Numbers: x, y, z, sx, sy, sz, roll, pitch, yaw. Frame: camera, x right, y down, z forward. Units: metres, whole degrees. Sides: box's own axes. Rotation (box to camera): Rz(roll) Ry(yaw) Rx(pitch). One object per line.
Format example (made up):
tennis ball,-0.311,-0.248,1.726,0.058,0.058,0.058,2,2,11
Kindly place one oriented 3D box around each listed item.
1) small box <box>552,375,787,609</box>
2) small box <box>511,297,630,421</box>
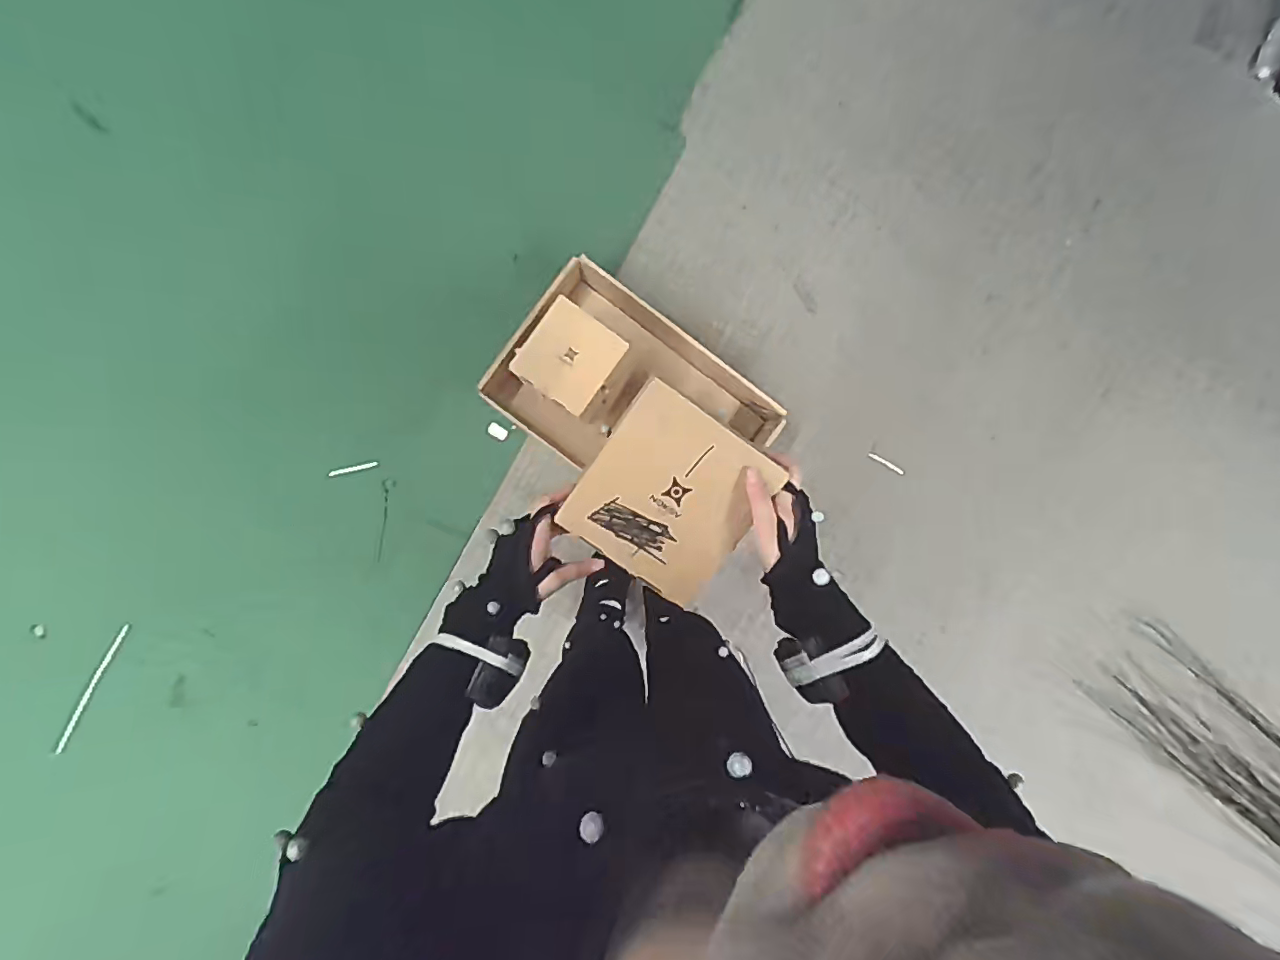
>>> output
small box,0.030,0.002,0.600,0.168,0.176,0.179,35,100,-6
small box,-0.140,-0.238,1.116,0.168,0.176,0.179,36,91,-5
